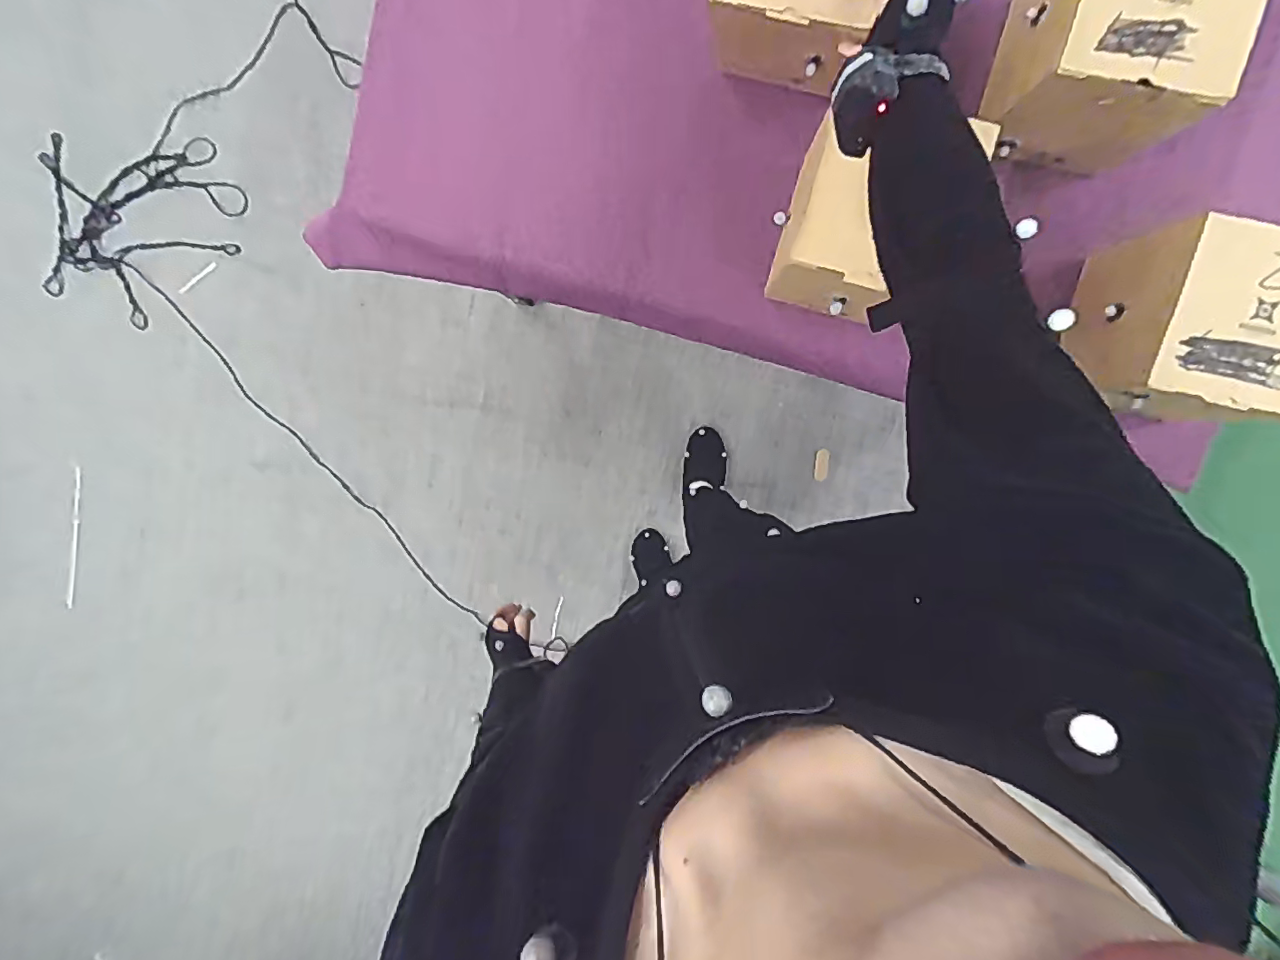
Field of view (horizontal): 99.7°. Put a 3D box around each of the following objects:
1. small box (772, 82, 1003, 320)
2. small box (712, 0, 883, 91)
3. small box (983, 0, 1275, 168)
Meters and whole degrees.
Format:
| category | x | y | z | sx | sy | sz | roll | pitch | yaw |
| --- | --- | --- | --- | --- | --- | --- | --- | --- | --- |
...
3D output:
| category | x | y | z | sx | sy | sz | roll | pitch | yaw |
| --- | --- | --- | --- | --- | --- | --- | --- | --- | --- |
| small box | 0.259 | -0.296 | 0.617 | 0.168 | 0.176 | 0.179 | 16 | 98 | 2 |
| small box | 0.186 | -0.556 | 0.572 | 0.168 | 0.176 | 0.179 | 20 | 108 | 5 |
| small box | 0.504 | -0.467 | 0.575 | 0.168 | 0.176 | 0.179 | 14 | 97 | 2 |
